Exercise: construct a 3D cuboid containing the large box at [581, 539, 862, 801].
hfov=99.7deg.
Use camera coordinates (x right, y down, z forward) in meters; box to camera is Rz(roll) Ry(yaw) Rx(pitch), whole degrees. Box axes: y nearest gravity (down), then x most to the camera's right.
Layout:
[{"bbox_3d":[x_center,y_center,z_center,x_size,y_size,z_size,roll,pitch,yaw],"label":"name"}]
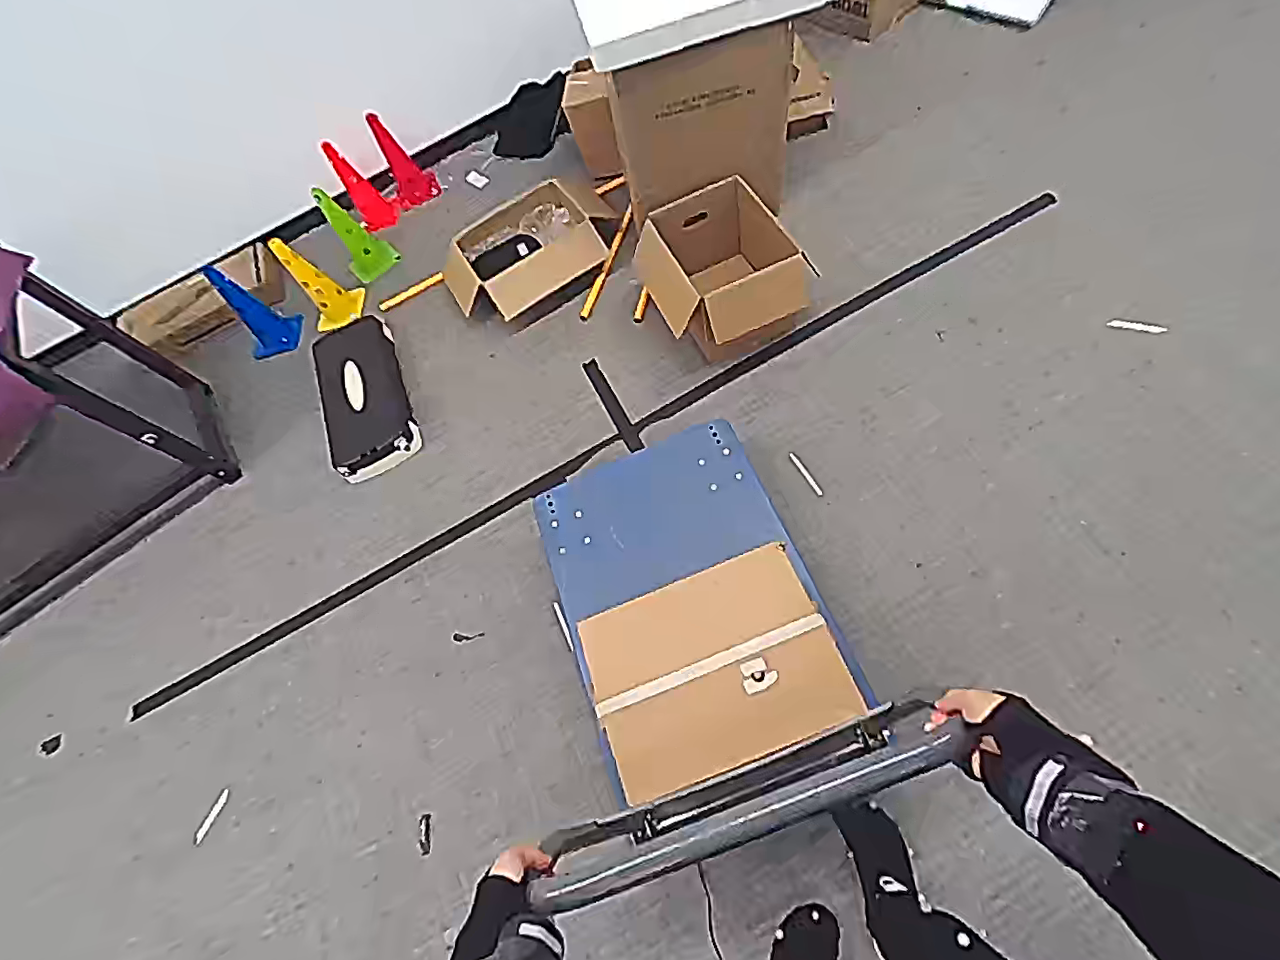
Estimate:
[{"bbox_3d":[0.150,0.376,1.055,0.408,0.320,0.320,-23,62,1],"label":"large box"}]
